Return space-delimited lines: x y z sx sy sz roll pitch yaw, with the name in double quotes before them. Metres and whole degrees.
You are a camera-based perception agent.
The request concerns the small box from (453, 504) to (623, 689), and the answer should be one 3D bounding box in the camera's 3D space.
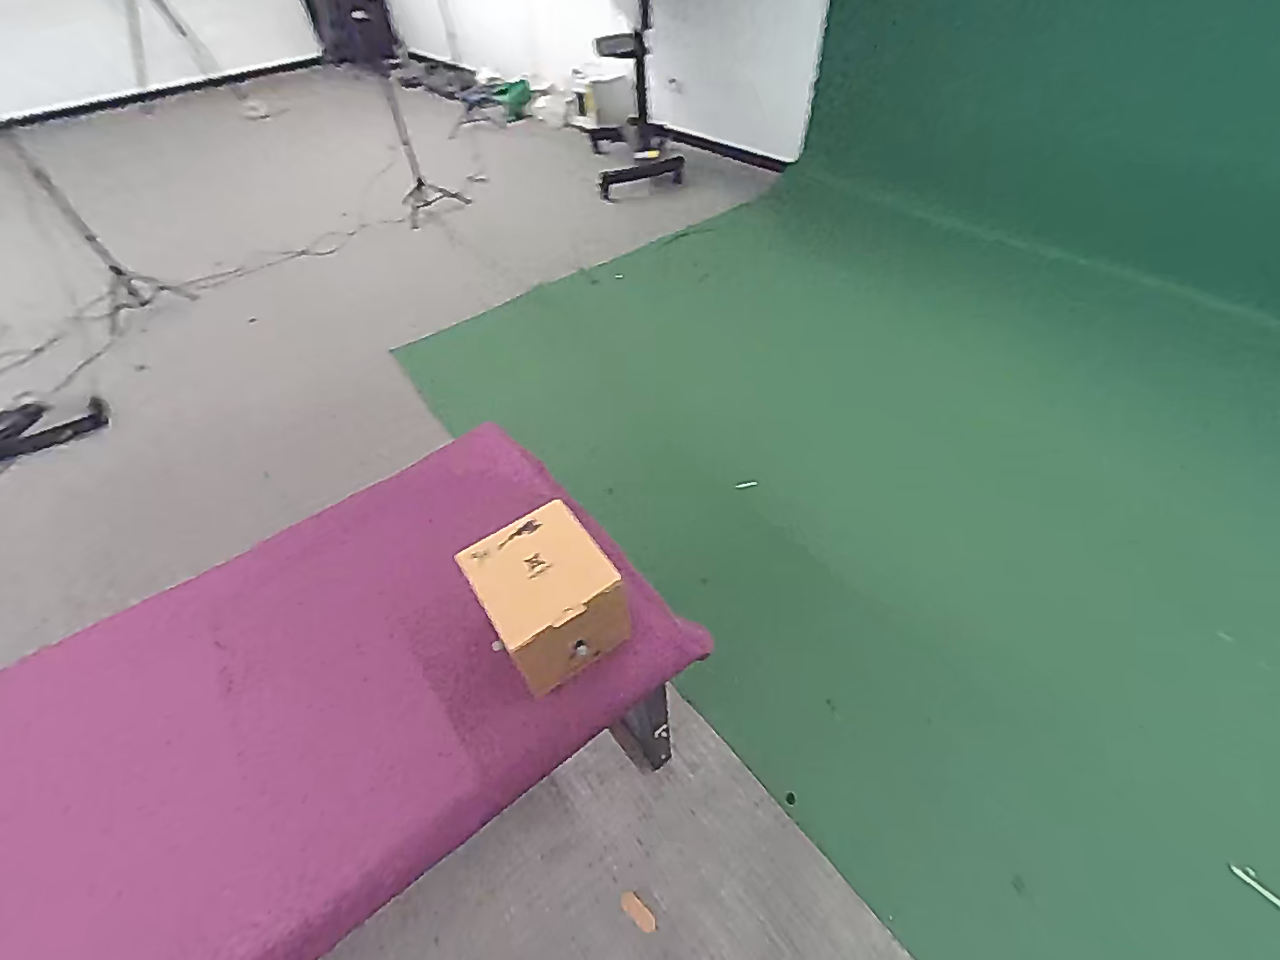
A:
"small box" -0.138 0.175 0.778 0.168 0.176 0.179 -30 54 -19
